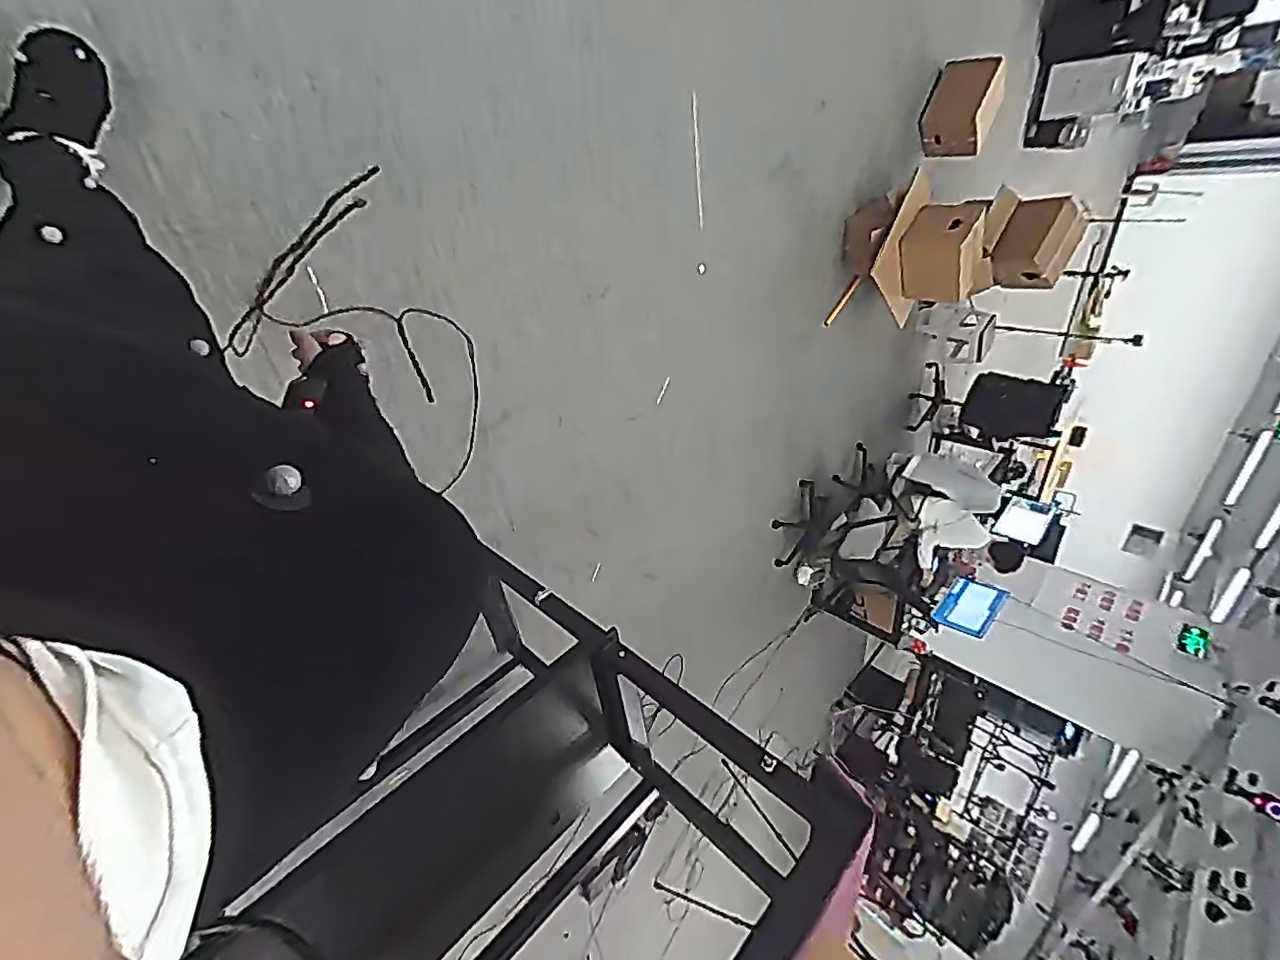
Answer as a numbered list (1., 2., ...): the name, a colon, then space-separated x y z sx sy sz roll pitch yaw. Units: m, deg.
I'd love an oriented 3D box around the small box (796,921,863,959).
1. small box: 0.334 0.931 0.931 0.179 0.176 0.168 -35 132 -33
